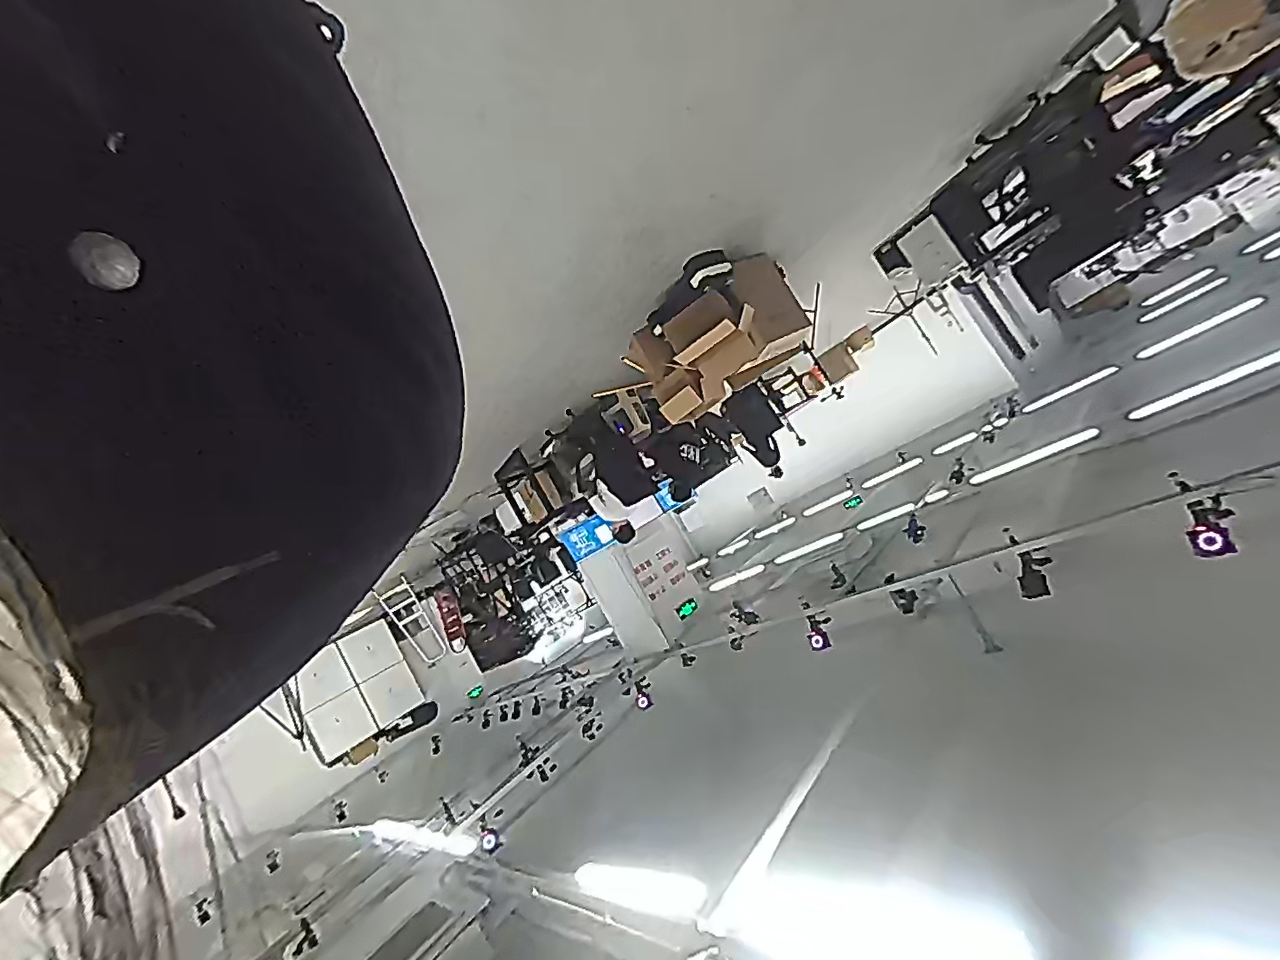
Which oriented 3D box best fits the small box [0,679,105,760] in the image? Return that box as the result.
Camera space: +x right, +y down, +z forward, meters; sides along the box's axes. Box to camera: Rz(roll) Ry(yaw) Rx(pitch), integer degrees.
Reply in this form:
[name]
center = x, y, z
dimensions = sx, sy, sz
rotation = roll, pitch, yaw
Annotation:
[small box]
center = -1.865, 0.758, 1.720
dimensions = 0.179, 0.176, 0.168
rotation = -24, 171, -42
